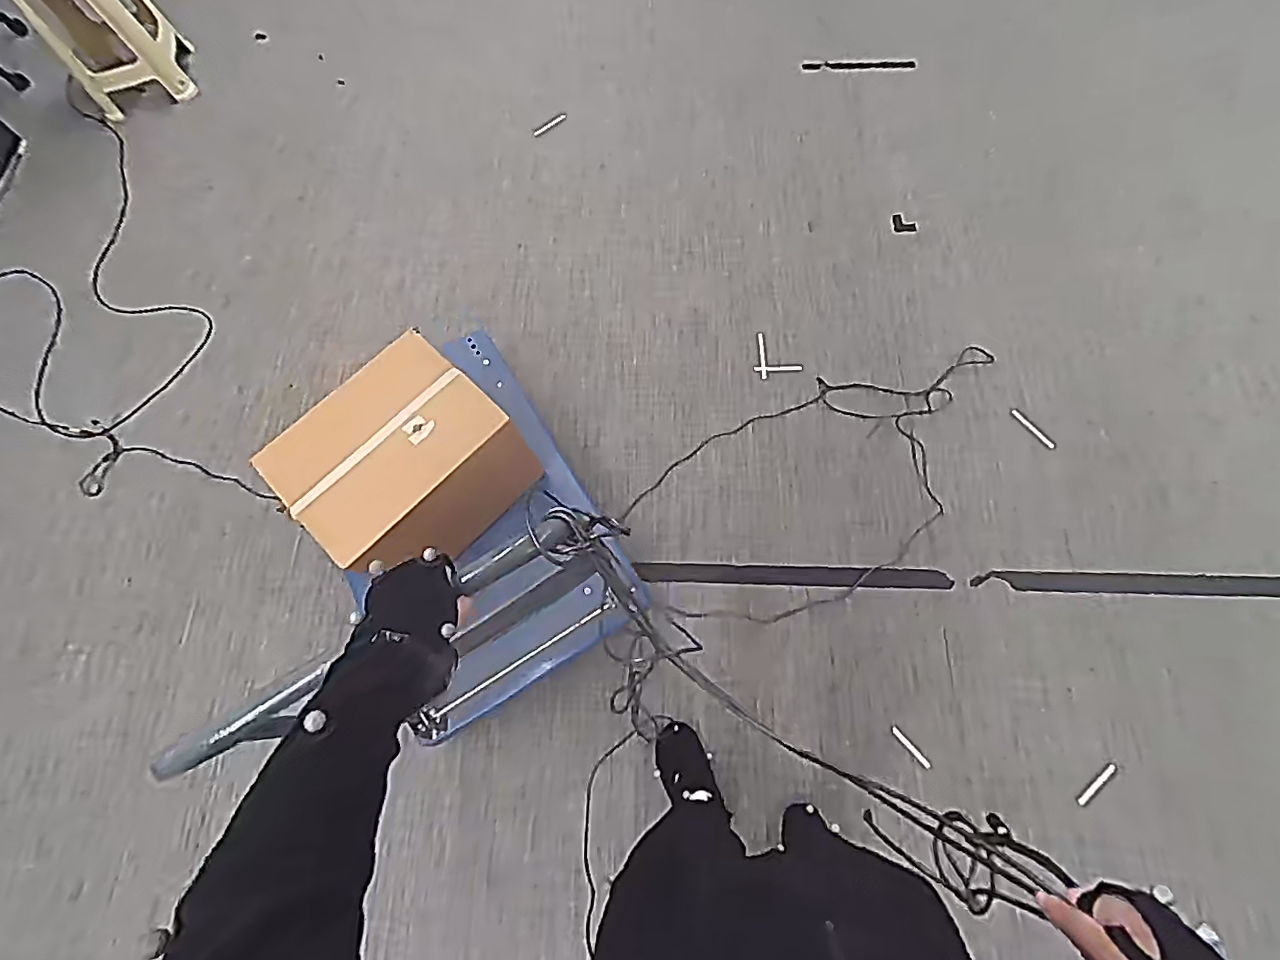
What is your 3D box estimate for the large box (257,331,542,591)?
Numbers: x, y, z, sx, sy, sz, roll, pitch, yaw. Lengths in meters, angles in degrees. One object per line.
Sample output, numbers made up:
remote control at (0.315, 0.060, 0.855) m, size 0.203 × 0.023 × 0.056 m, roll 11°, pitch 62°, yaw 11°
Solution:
large box at (-0.484, -0.024, 1.169) m, size 0.320 × 0.320 × 0.408 m, roll 42°, pitch 78°, yaw 15°
